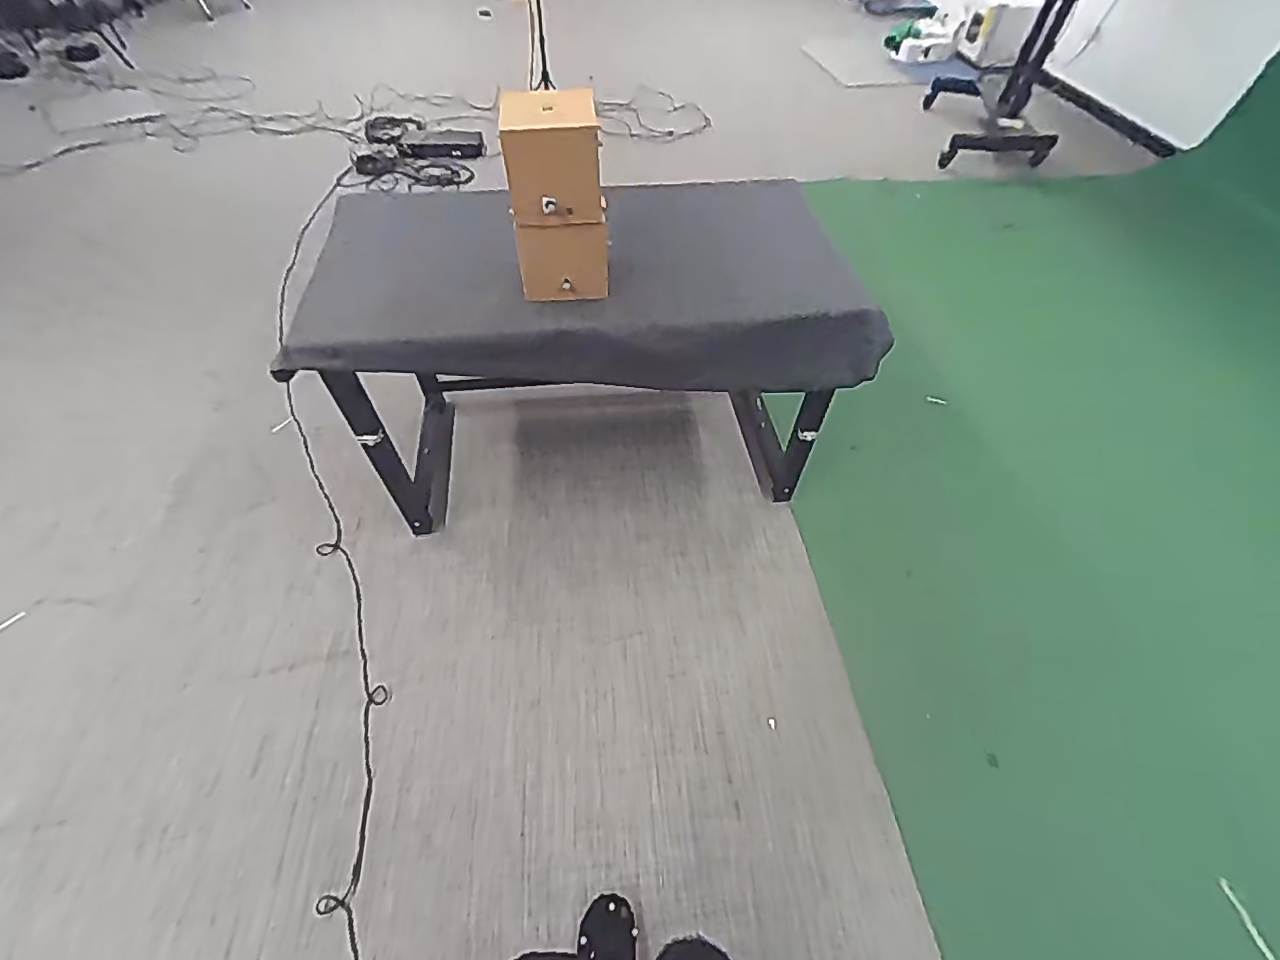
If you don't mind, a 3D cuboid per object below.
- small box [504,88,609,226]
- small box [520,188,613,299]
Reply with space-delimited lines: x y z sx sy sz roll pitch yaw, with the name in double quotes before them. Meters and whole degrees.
"small box" -0.150 -0.596 1.002 0.168 0.176 0.179 -6 54 -3
"small box" -0.149 -0.498 1.131 0.179 0.176 0.168 -5 52 -5
